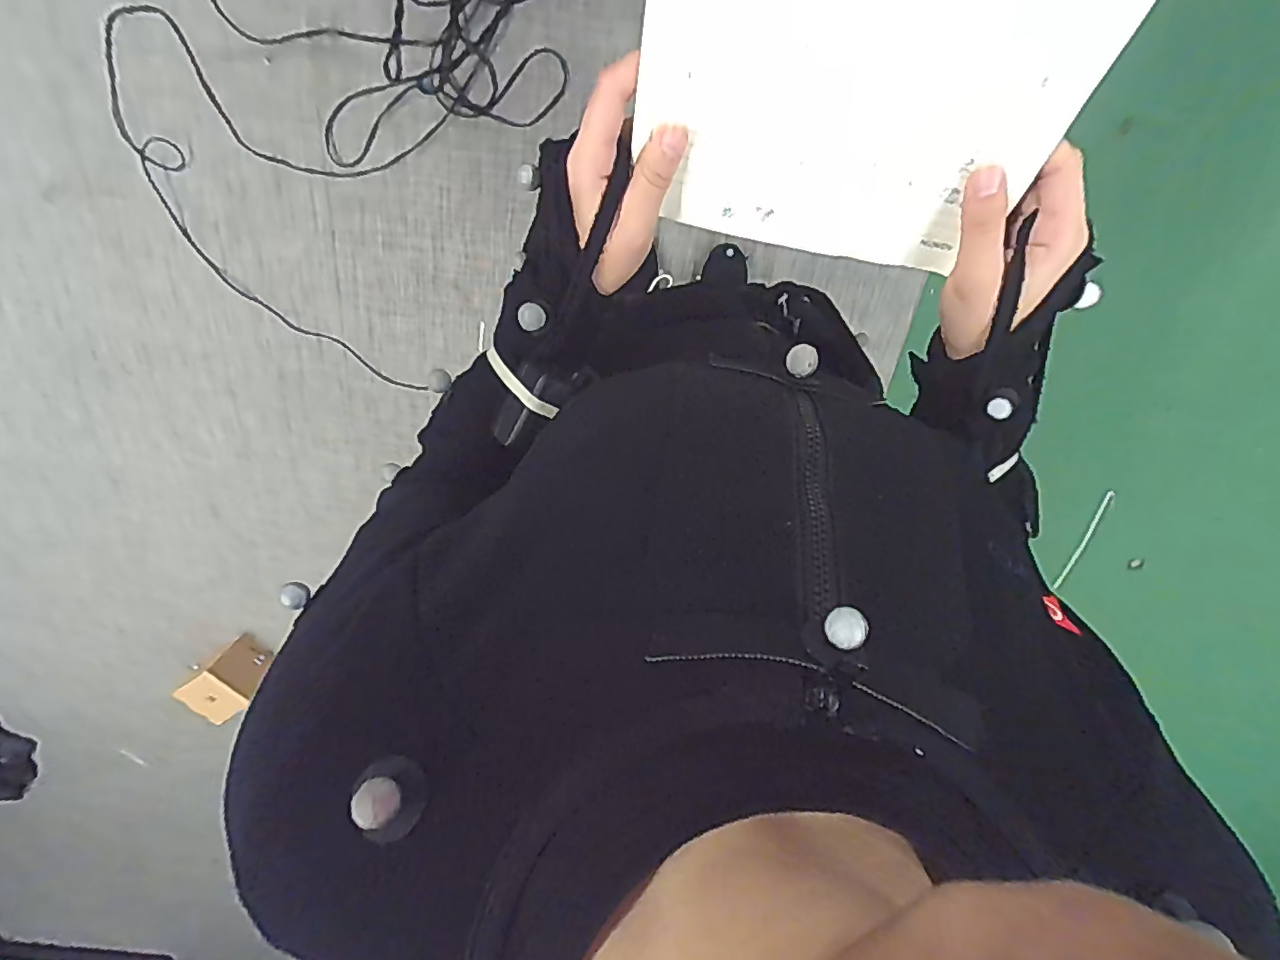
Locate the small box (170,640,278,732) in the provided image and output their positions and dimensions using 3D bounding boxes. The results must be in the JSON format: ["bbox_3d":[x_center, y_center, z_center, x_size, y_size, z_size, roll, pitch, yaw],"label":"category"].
[{"bbox_3d":[-1.288,0.639,1.689,0.179,0.176,0.168,-33,111,15],"label":"small box"}]
